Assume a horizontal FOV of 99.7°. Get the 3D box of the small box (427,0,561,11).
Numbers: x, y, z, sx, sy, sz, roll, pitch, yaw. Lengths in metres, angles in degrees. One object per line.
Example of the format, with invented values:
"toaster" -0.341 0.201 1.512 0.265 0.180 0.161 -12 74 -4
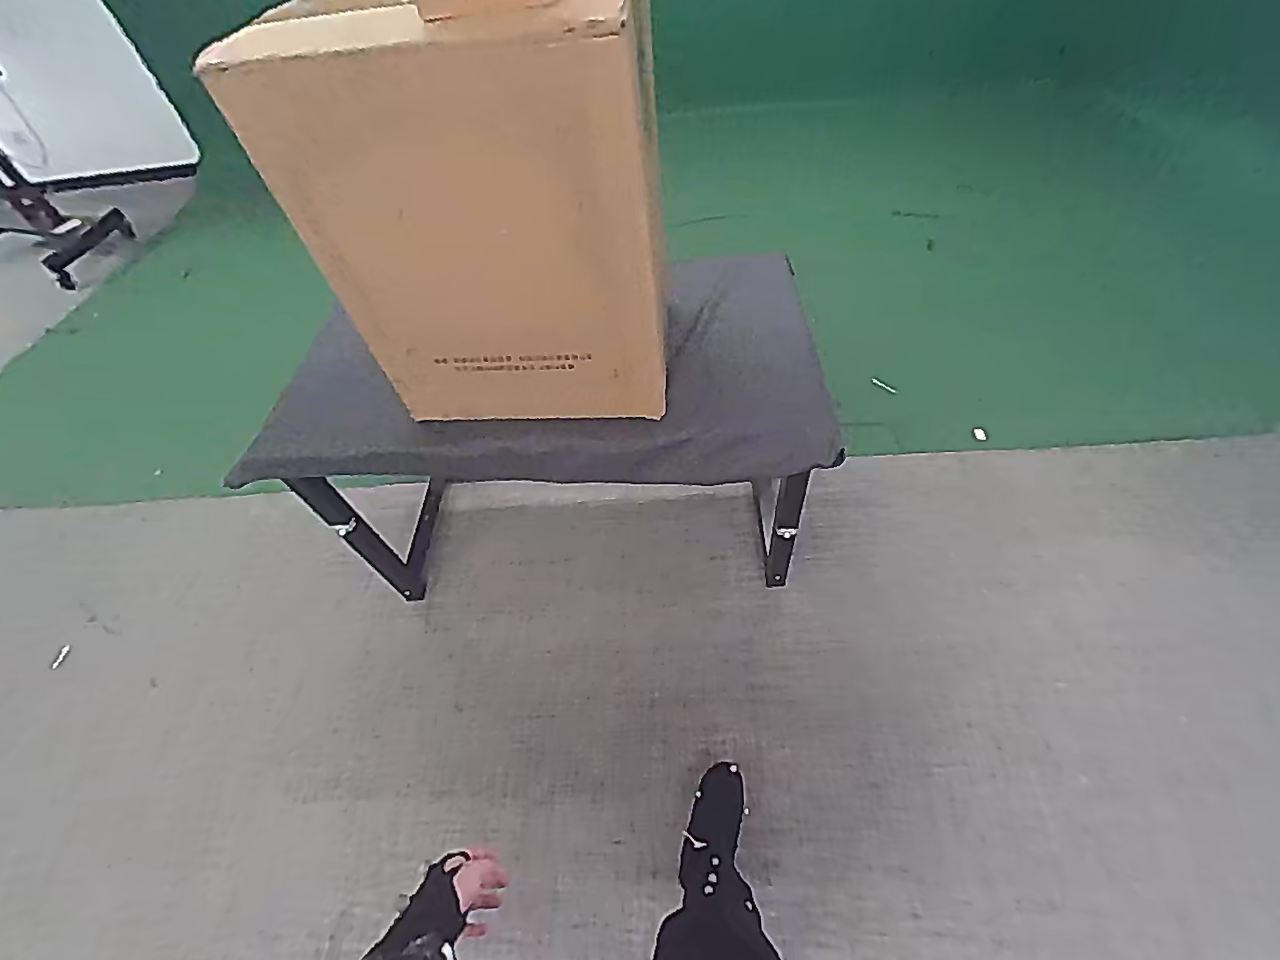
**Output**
"small box" -0.171 -0.652 0.604 0.168 0.176 0.179 -2 54 1
